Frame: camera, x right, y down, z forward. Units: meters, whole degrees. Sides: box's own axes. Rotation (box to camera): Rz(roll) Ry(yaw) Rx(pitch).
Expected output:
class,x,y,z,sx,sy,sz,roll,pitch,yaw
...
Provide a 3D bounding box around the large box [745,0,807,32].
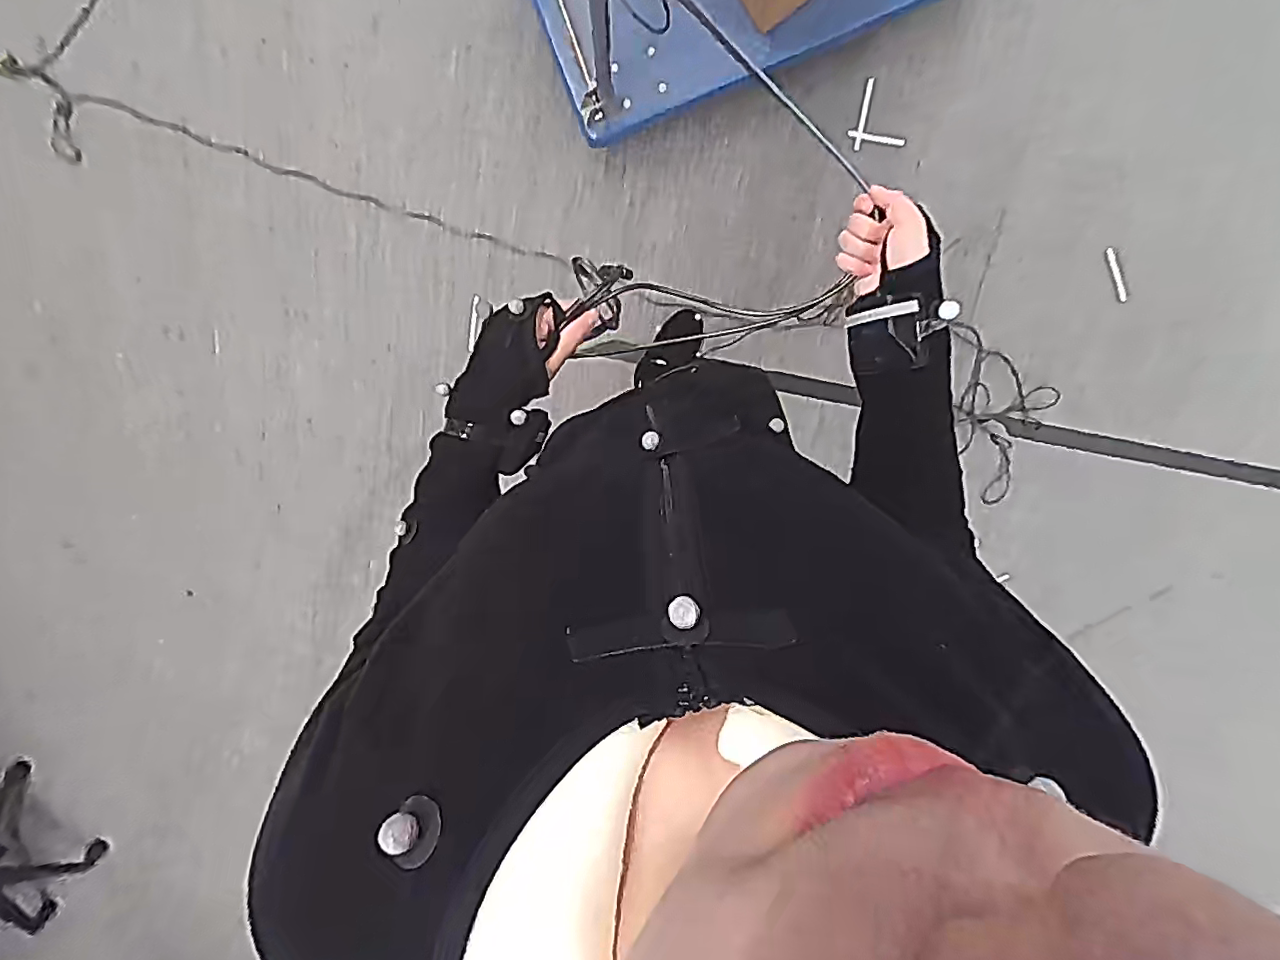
class,x,y,z,sx,sy,sz,roll,pitch,yaw
large box,0.254,-1.100,0.886,0.320,0.320,0.408,-34,102,10
